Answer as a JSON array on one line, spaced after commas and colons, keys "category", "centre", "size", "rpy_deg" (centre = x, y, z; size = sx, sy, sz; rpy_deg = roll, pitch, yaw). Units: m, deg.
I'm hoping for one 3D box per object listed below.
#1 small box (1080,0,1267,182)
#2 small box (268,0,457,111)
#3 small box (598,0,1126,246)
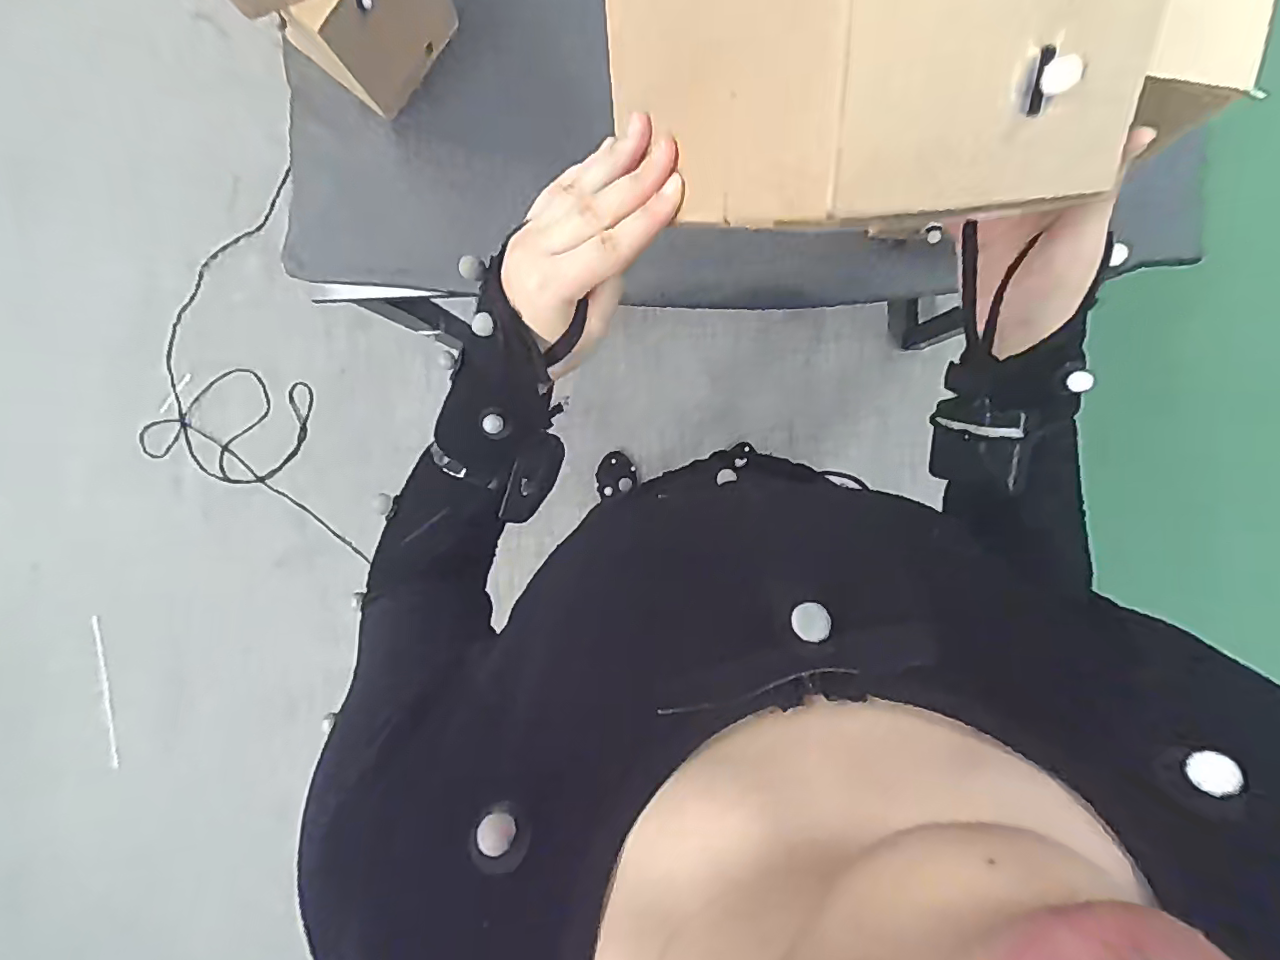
[{"category": "small box", "centre": [0.376, -0.381, 0.472], "size": [0.179, 0.176, 0.168], "rpy_deg": [10, 93, 3]}, {"category": "small box", "centre": [-0.359, -0.601, 0.649], "size": [0.179, 0.176, 0.168], "rpy_deg": [39, 94, -1]}, {"category": "small box", "centre": [0.093, -0.212, 0.247], "size": [0.179, 0.168, 0.176], "rpy_deg": [-17, 120, -23]}]
